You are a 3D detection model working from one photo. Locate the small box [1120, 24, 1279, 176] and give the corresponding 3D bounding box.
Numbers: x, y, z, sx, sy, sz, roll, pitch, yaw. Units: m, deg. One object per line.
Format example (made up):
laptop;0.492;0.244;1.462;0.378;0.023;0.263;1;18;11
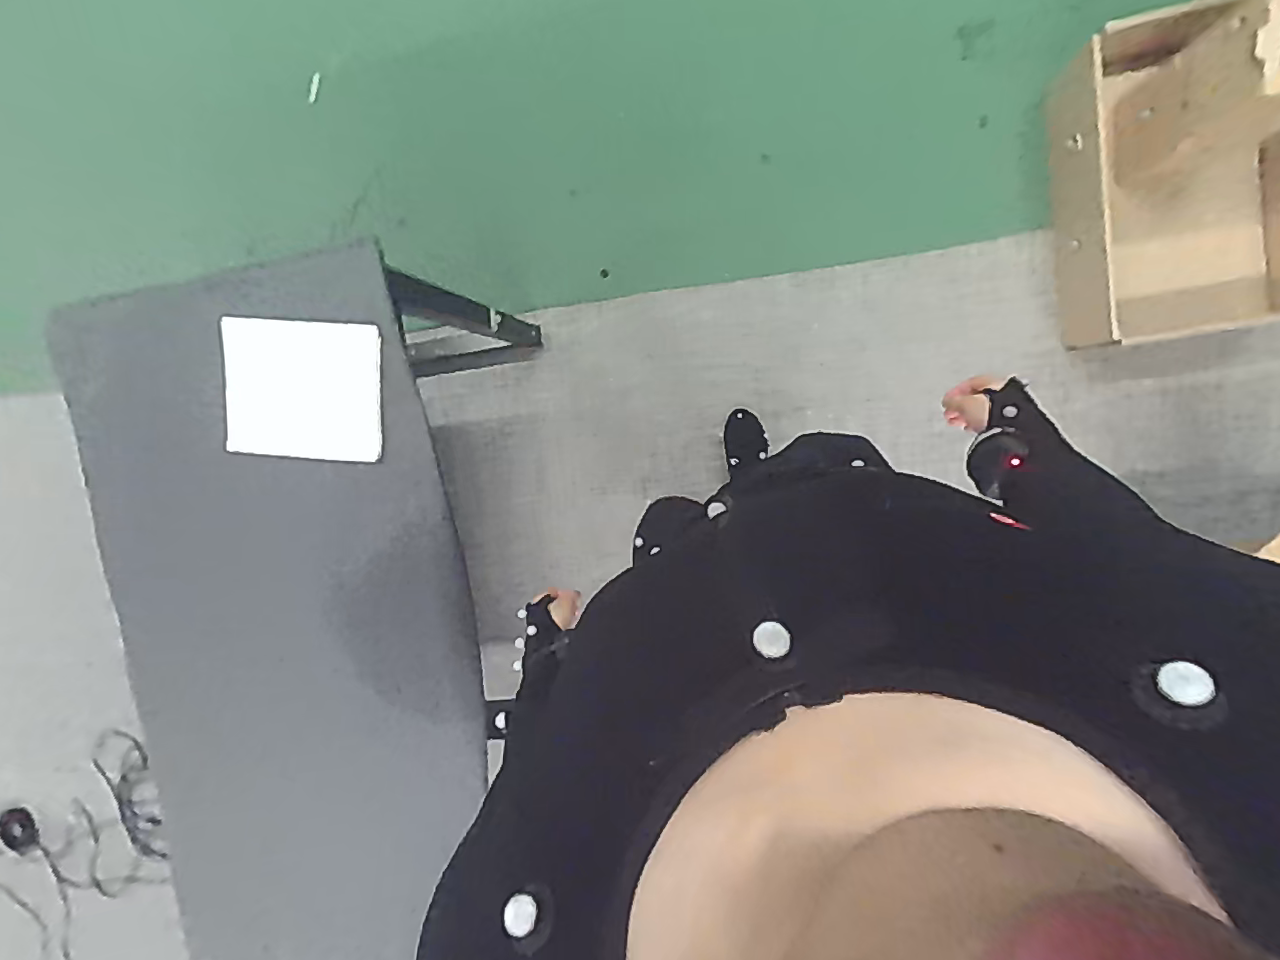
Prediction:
small box;1.110;-0.747;1.082;0.168;0.176;0.179;-7;97;9
